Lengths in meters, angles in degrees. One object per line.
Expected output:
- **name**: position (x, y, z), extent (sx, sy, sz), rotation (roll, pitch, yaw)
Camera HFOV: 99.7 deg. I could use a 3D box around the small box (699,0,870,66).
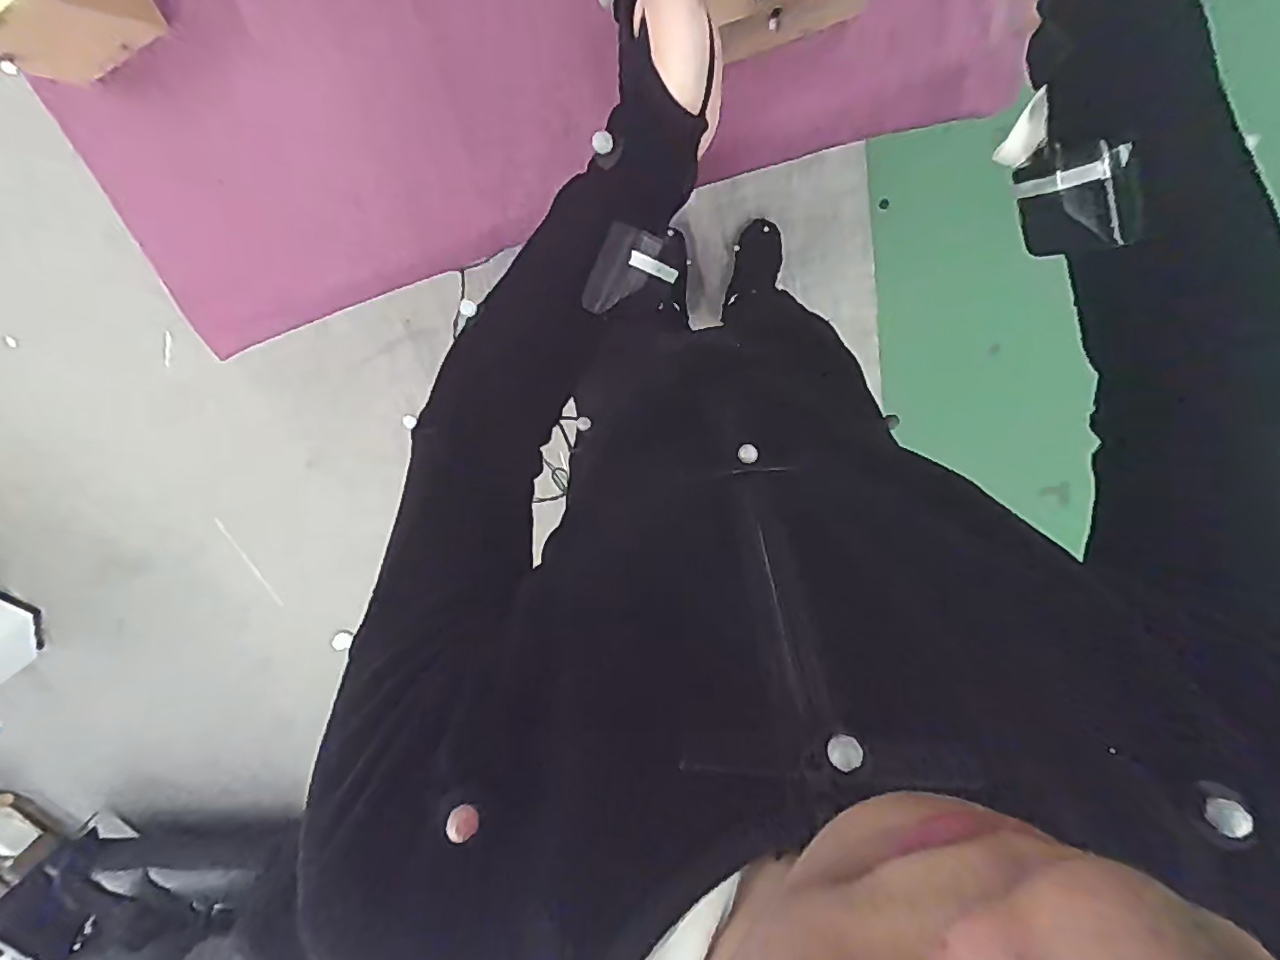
- **small box**: position (0.129, -0.529, 0.504), extent (0.168, 0.176, 0.179), rotation (-9, 116, 16)
